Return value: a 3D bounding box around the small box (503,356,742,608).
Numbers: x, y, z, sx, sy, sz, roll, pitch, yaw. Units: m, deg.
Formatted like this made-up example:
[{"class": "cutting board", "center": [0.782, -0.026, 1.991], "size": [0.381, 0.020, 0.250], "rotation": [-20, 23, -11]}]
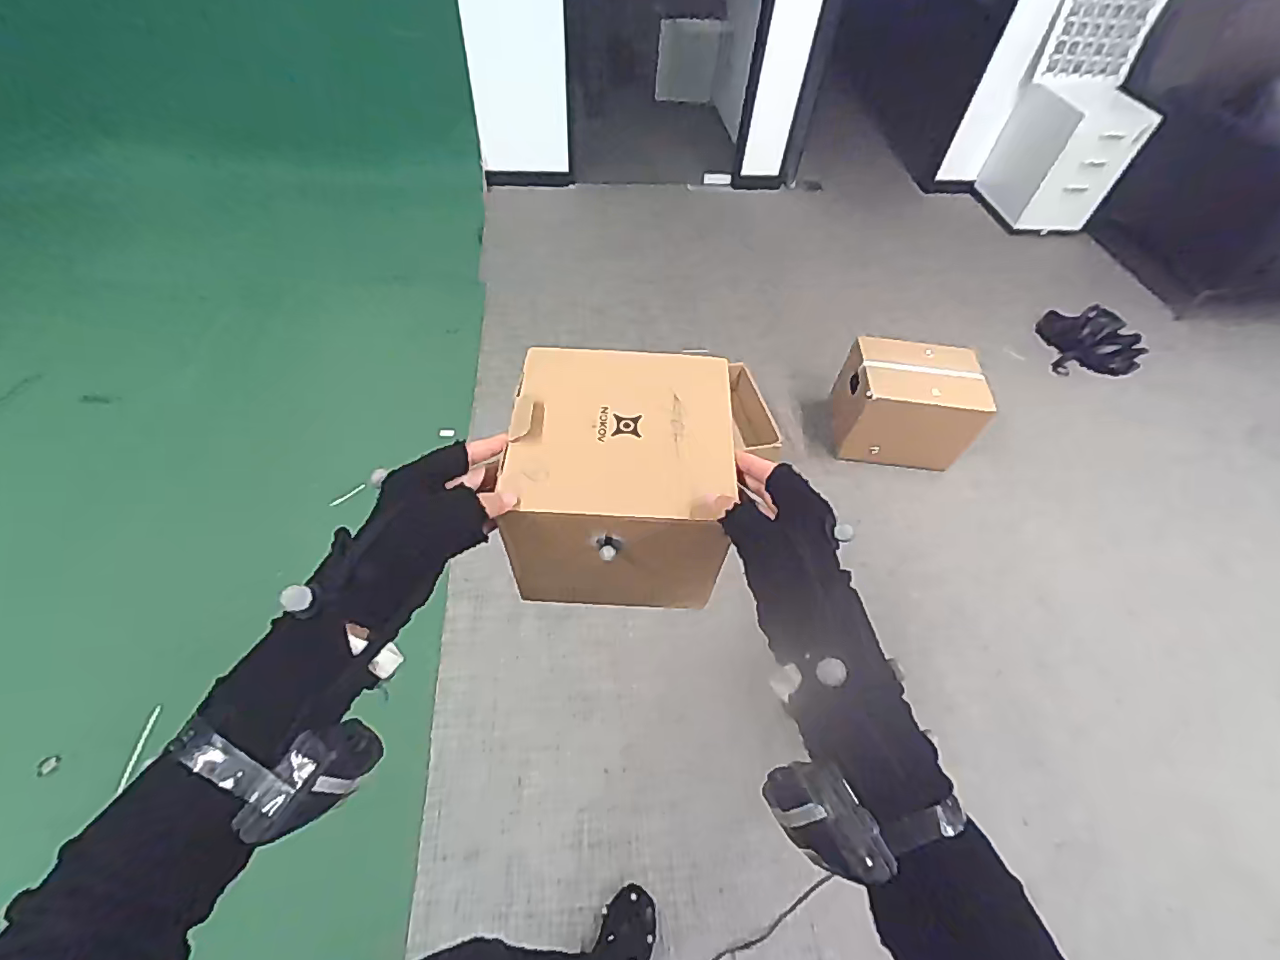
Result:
[{"class": "small box", "center": [-0.013, 0.009, 0.496], "size": [0.179, 0.176, 0.168], "rotation": [3, 55, -2]}]
